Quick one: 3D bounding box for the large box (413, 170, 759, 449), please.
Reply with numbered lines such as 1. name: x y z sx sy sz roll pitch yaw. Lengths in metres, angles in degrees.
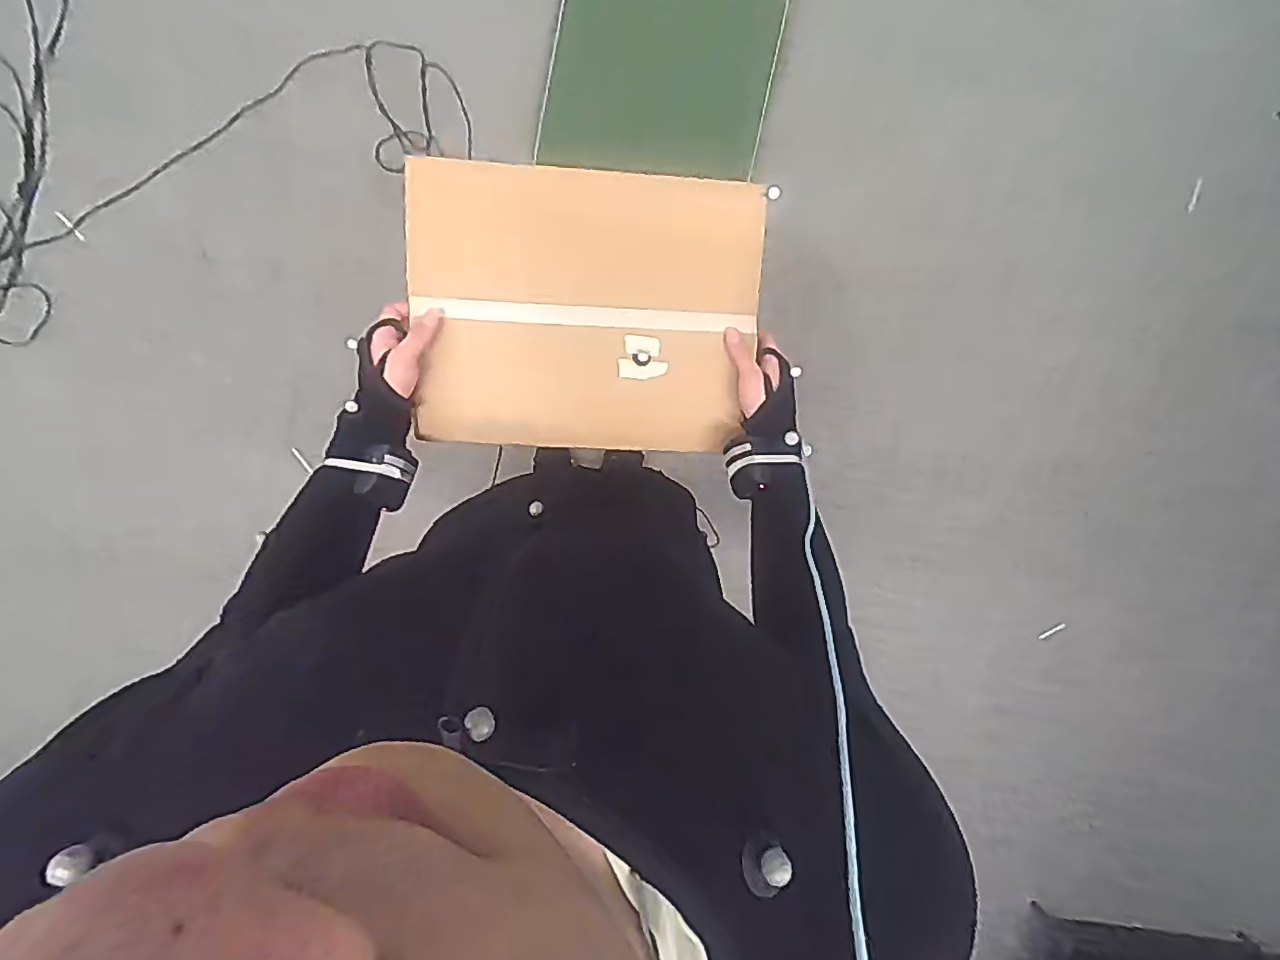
1. large box: -0.075 -0.220 0.793 0.408 0.320 0.320 2 101 -5
